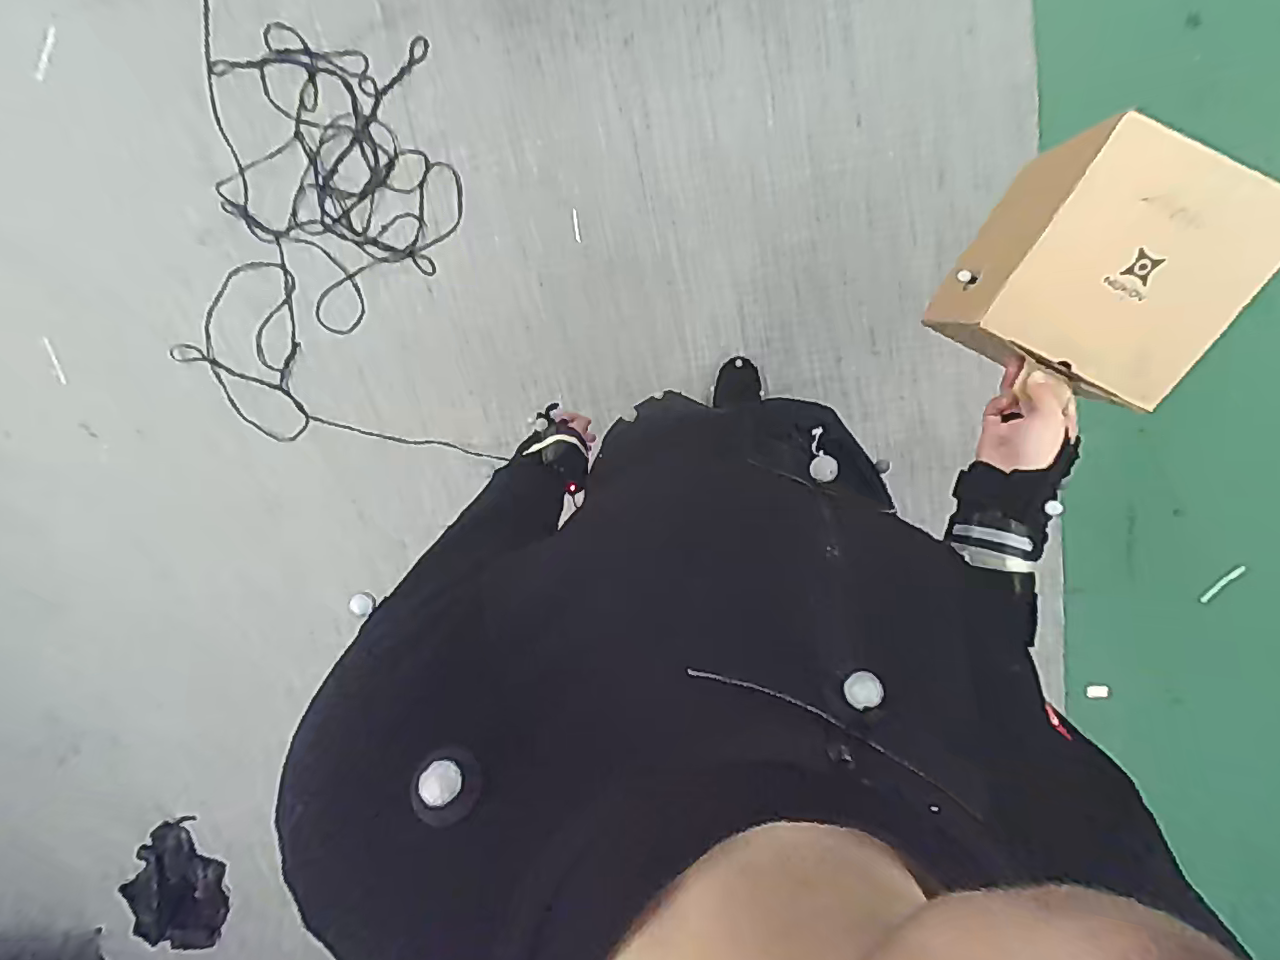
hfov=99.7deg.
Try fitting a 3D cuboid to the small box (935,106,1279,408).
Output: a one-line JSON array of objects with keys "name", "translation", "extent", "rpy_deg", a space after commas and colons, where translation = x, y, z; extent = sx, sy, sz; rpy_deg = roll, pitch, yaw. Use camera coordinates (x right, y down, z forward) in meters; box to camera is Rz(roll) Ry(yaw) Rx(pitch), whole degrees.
[{"name": "small box", "translation": [0.408, -0.191, 0.502], "extent": [0.168, 0.176, 0.179], "rpy_deg": [27, 109, 1]}]
